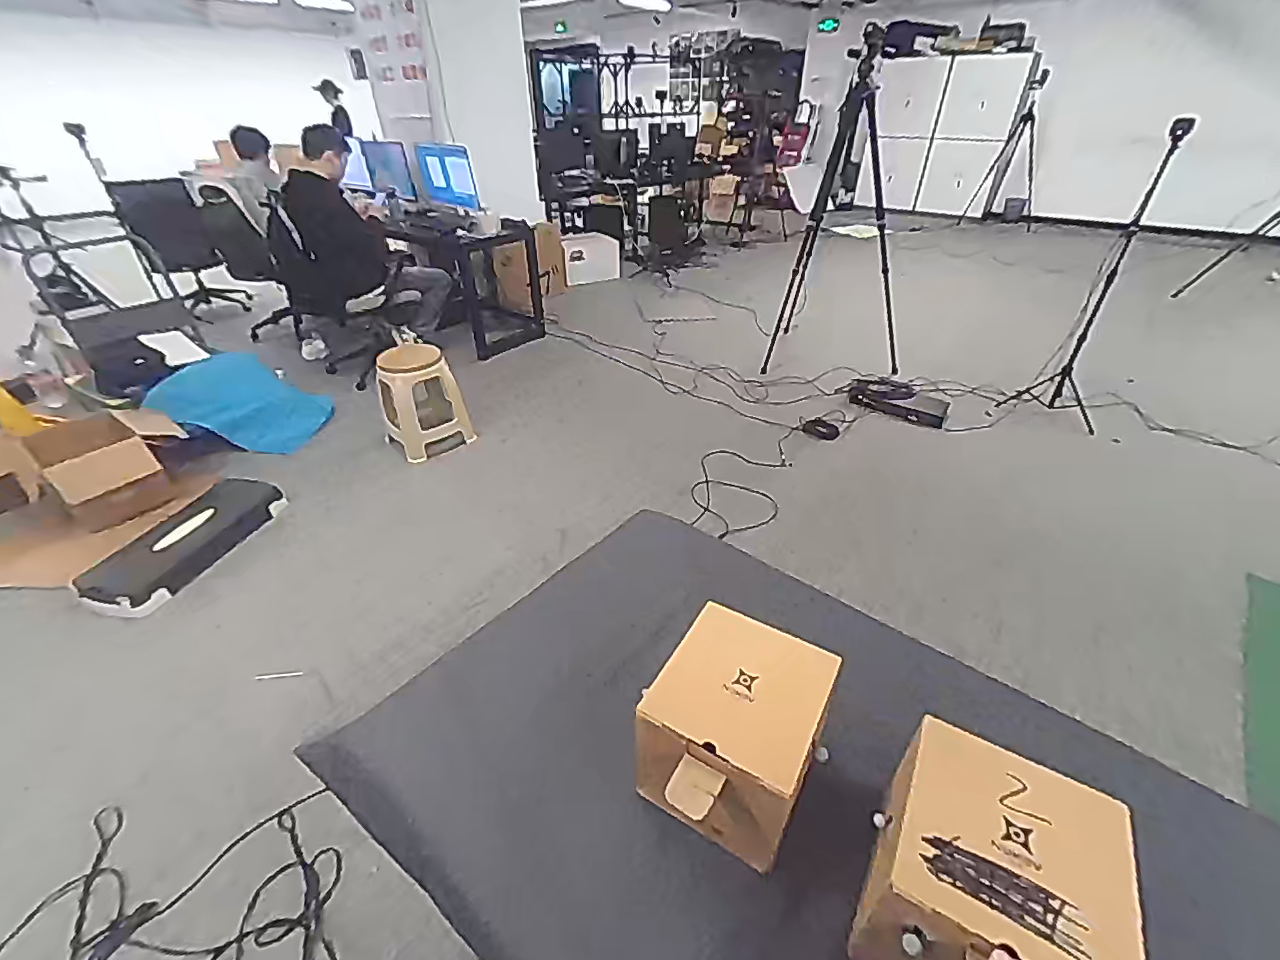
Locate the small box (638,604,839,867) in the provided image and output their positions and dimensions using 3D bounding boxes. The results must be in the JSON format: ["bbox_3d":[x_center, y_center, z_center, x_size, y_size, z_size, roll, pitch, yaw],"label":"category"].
[{"bbox_3d":[0.108,0.283,0.617,0.168,0.176,0.179,19,39,25],"label":"small box"}]
